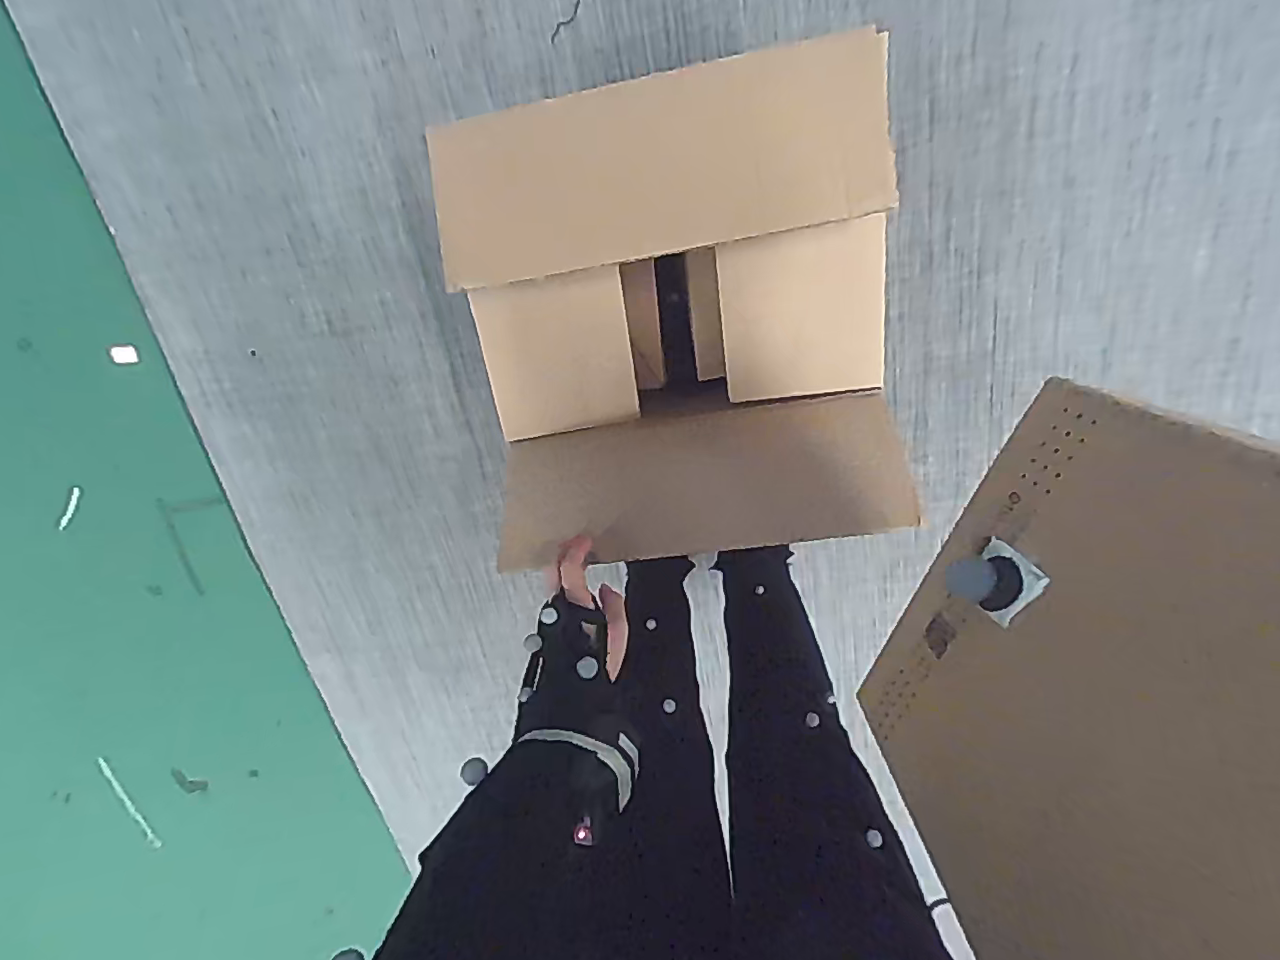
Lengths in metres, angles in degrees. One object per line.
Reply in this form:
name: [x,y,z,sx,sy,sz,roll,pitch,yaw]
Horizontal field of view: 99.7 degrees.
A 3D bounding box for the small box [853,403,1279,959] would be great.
small box: [0.203,0.087,0.172,0.179,0.176,0.168,14,112,-5]
